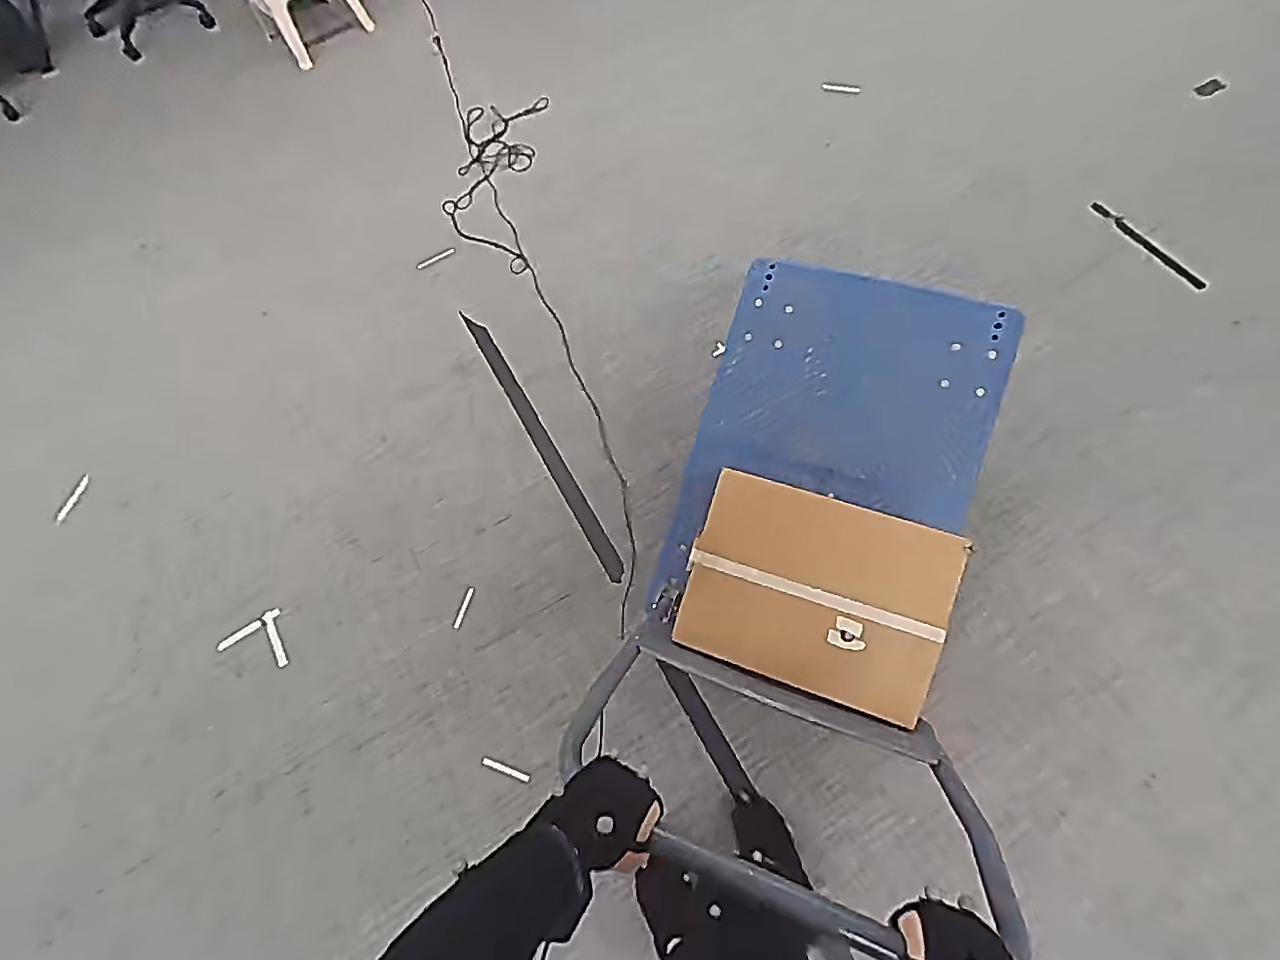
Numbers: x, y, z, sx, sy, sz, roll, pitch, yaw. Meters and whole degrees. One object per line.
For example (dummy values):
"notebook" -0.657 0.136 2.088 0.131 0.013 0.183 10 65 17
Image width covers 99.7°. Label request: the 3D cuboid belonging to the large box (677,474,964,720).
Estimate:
"large box" 0.317 0.194 1.045 0.408 0.320 0.320 17 92 12
